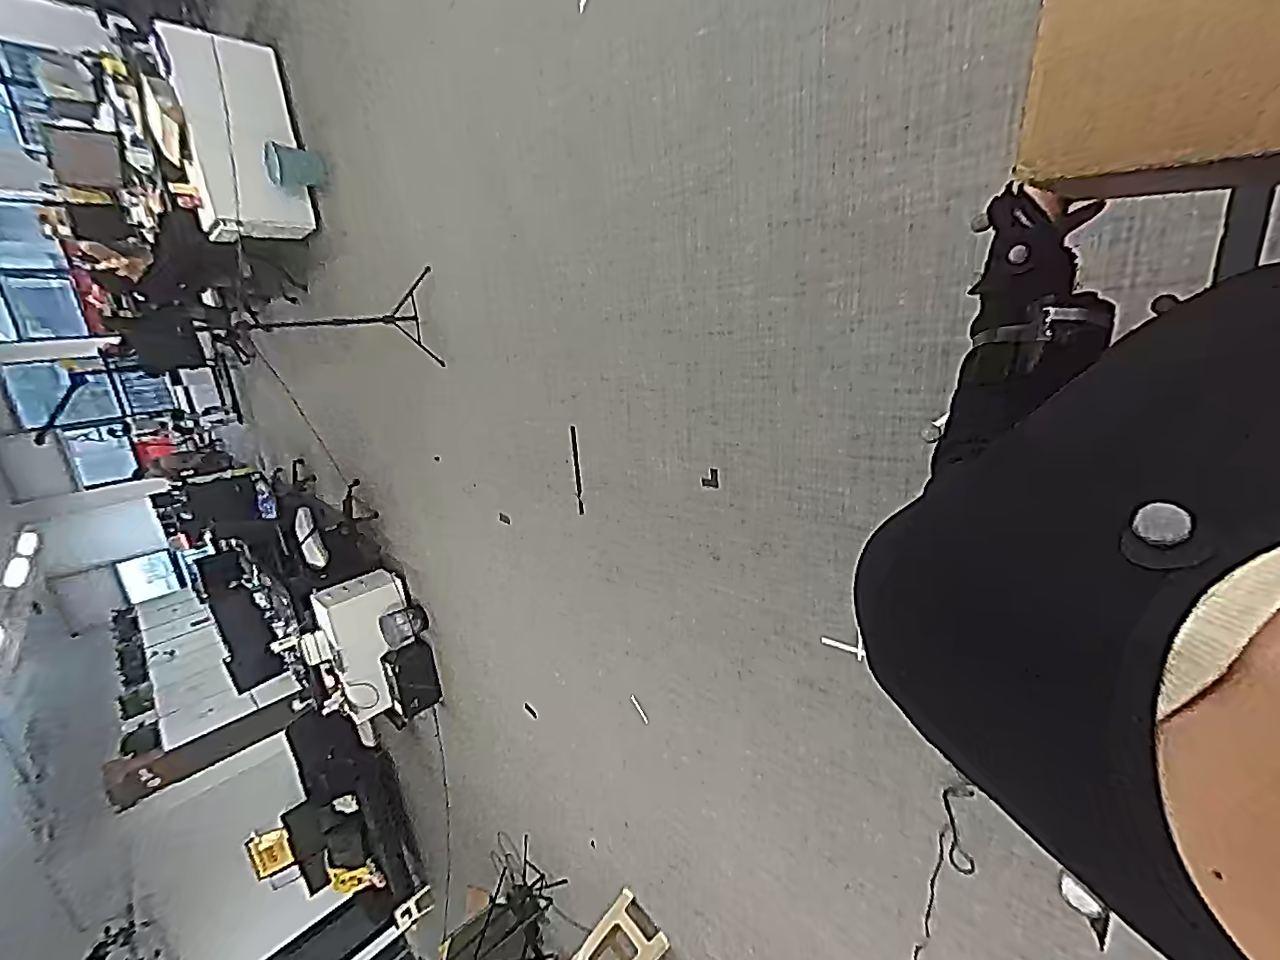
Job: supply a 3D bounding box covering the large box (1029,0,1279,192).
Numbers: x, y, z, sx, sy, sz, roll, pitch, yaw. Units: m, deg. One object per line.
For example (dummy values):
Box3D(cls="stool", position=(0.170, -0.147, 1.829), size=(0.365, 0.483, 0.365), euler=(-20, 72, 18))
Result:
Box3D(cls="large box", position=(0.419, -0.309, 0.193), size=(0.408, 0.320, 0.320), euler=(13, 119, 37))
